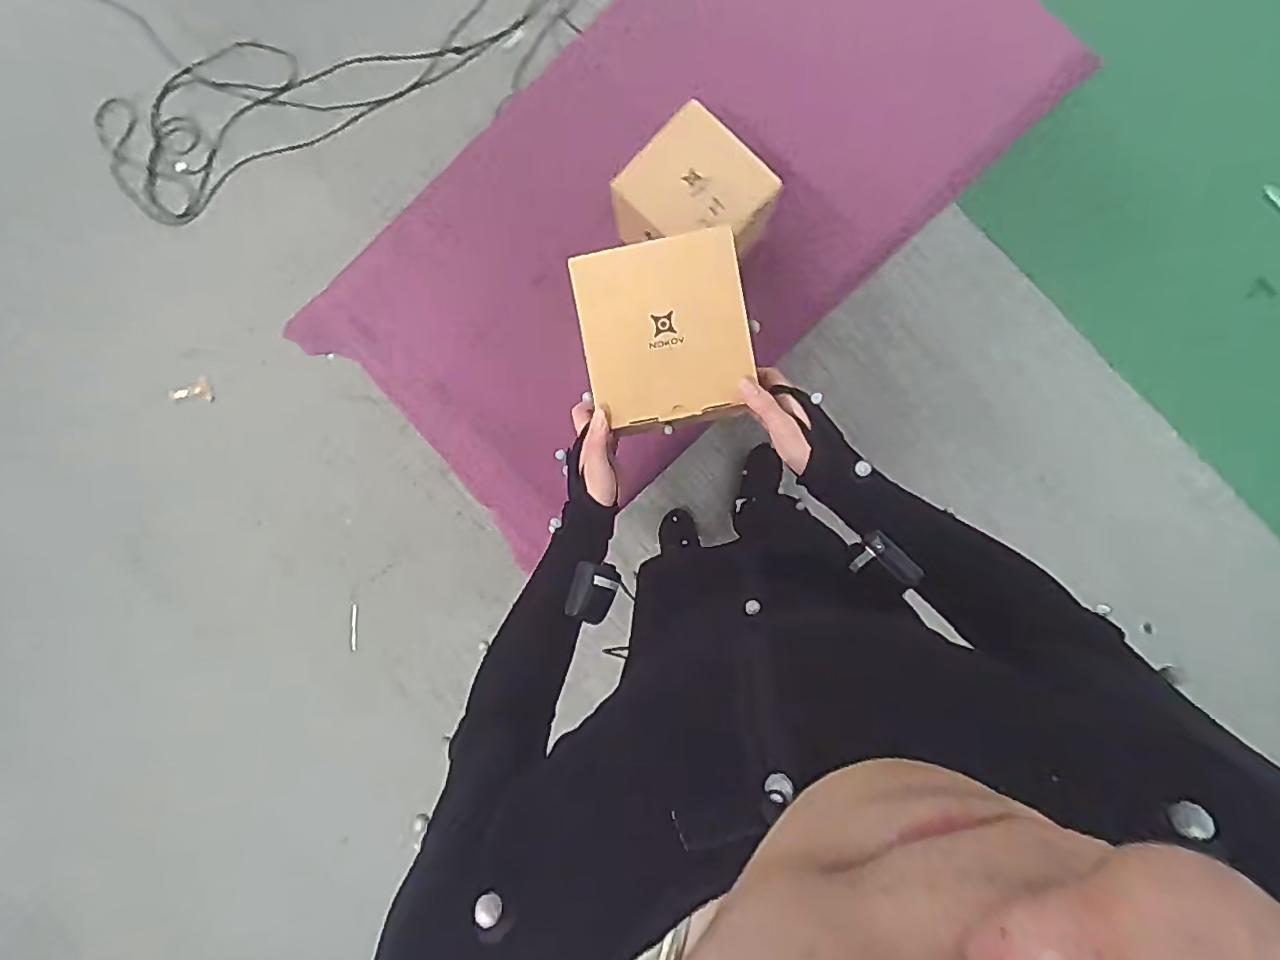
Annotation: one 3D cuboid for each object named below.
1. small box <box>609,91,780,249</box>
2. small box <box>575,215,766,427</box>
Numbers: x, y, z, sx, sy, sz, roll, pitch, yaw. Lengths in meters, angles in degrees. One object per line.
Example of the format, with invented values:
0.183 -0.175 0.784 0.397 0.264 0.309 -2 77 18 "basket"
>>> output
0.076 -0.411 0.811 0.179 0.176 0.168 45 93 2 "small box"
0.033 -0.160 0.602 0.168 0.176 0.179 -10 93 4 "small box"
